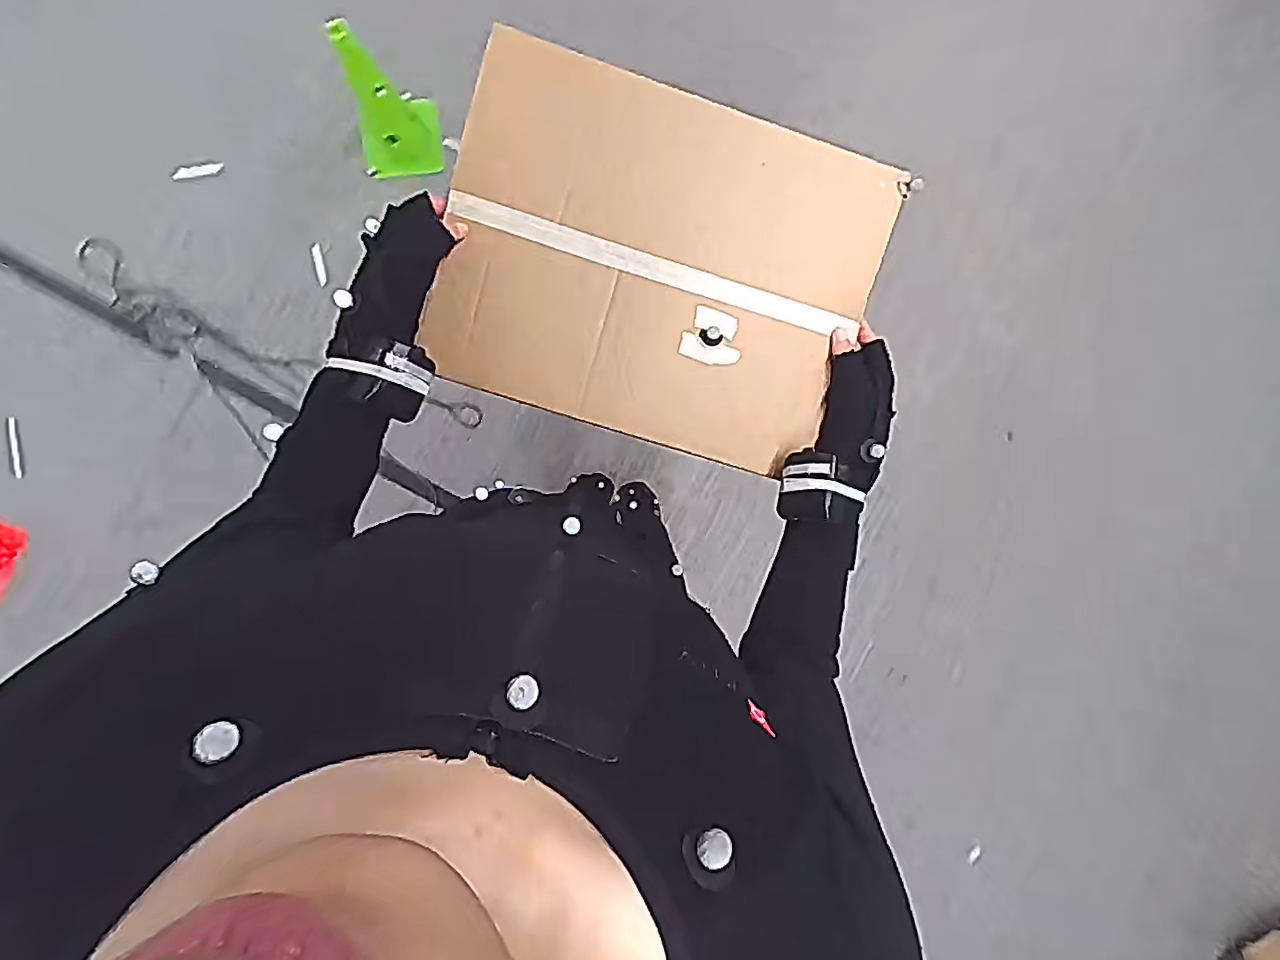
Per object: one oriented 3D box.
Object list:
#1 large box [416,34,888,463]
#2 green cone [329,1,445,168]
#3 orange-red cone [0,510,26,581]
[{"bbox_3d":[0.001,-0.227,0.665,0.408,0.320,0.320,15,97,-6],"label":"large box"},{"bbox_3d":[-0.619,-0.944,1.275,0.200,0.368,0.202,-9,89,-4],"label":"green cone"},{"bbox_3d":[-1.687,0.160,1.212,0.199,0.360,0.198,27,89,-5],"label":"orange-red cone"}]
